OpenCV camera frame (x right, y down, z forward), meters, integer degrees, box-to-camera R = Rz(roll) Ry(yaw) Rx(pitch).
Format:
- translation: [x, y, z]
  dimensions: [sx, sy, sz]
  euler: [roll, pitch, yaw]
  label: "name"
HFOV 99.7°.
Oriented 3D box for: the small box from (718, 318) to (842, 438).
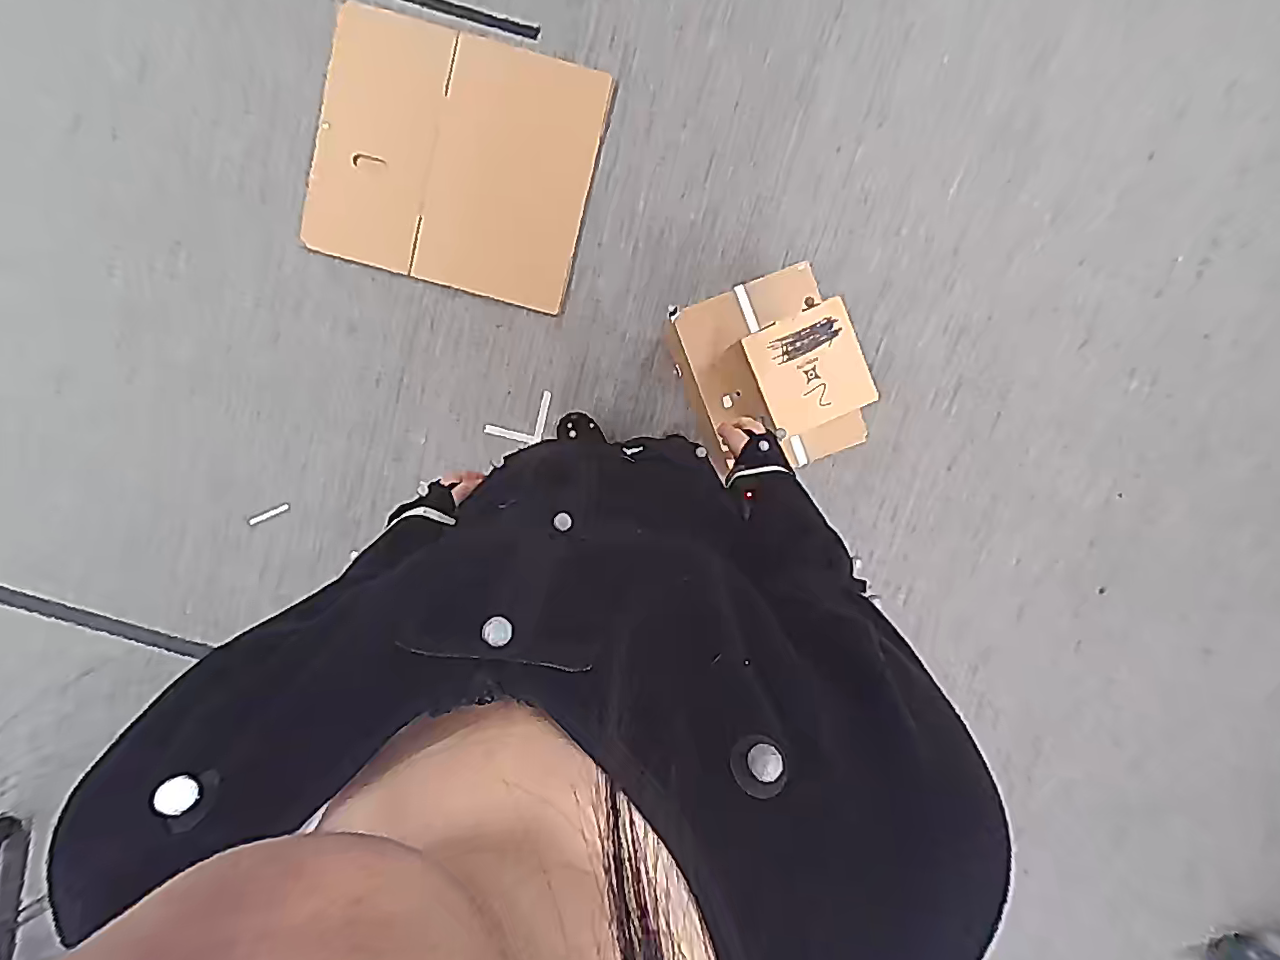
- translation: [0.268, -0.196, 1.075]
  dimensions: [0.168, 0.176, 0.179]
  euler: [-24, 97, 4]
  label: "small box"
